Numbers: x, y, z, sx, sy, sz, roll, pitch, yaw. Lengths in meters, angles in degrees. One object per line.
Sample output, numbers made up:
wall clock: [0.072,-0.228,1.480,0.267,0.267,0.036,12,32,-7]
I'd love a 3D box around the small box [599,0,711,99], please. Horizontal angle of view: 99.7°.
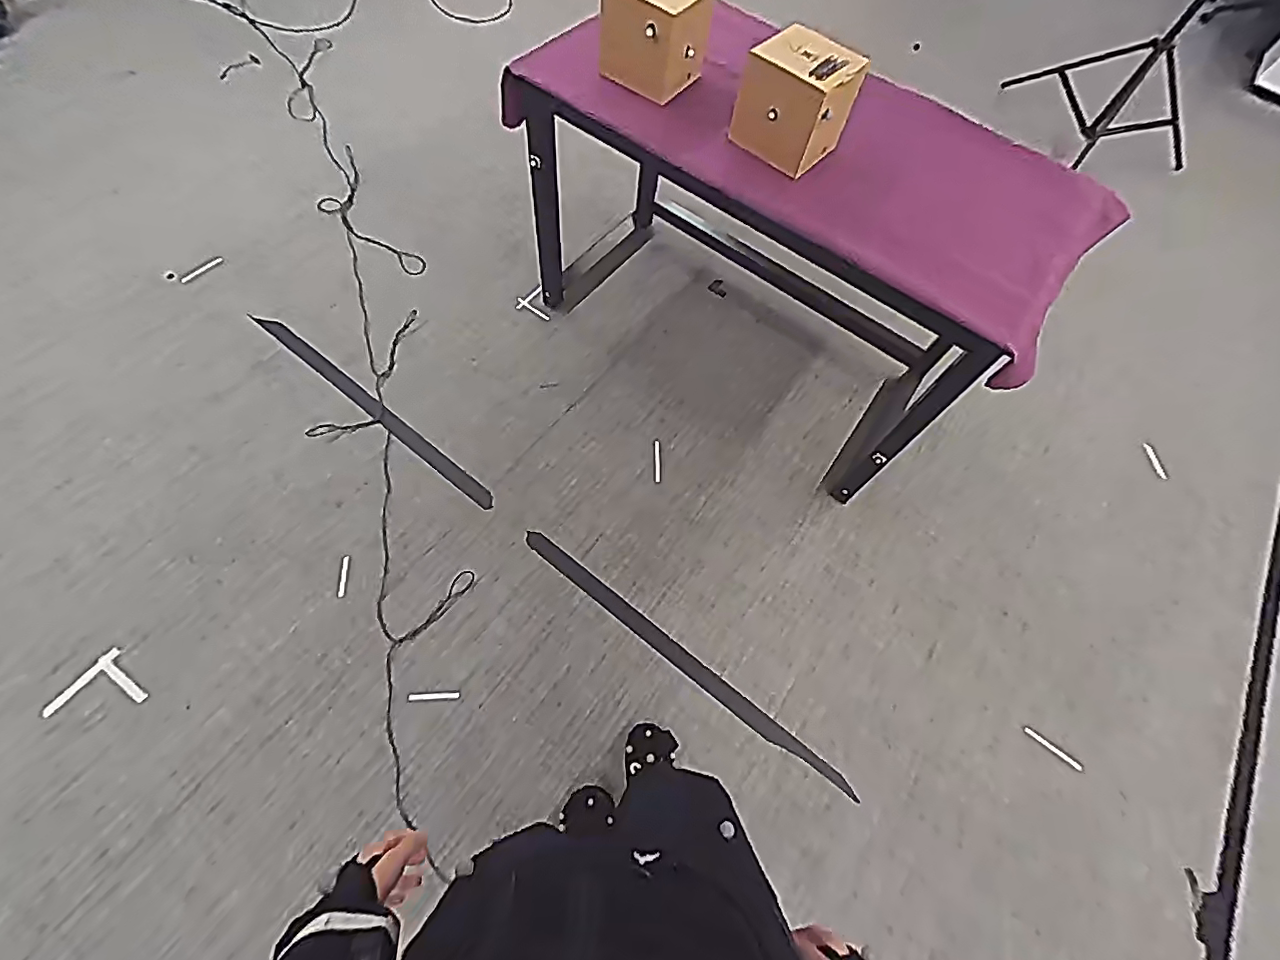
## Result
small box: [0.030,-0.949,1.146,0.179,0.176,0.168,33,64,10]
